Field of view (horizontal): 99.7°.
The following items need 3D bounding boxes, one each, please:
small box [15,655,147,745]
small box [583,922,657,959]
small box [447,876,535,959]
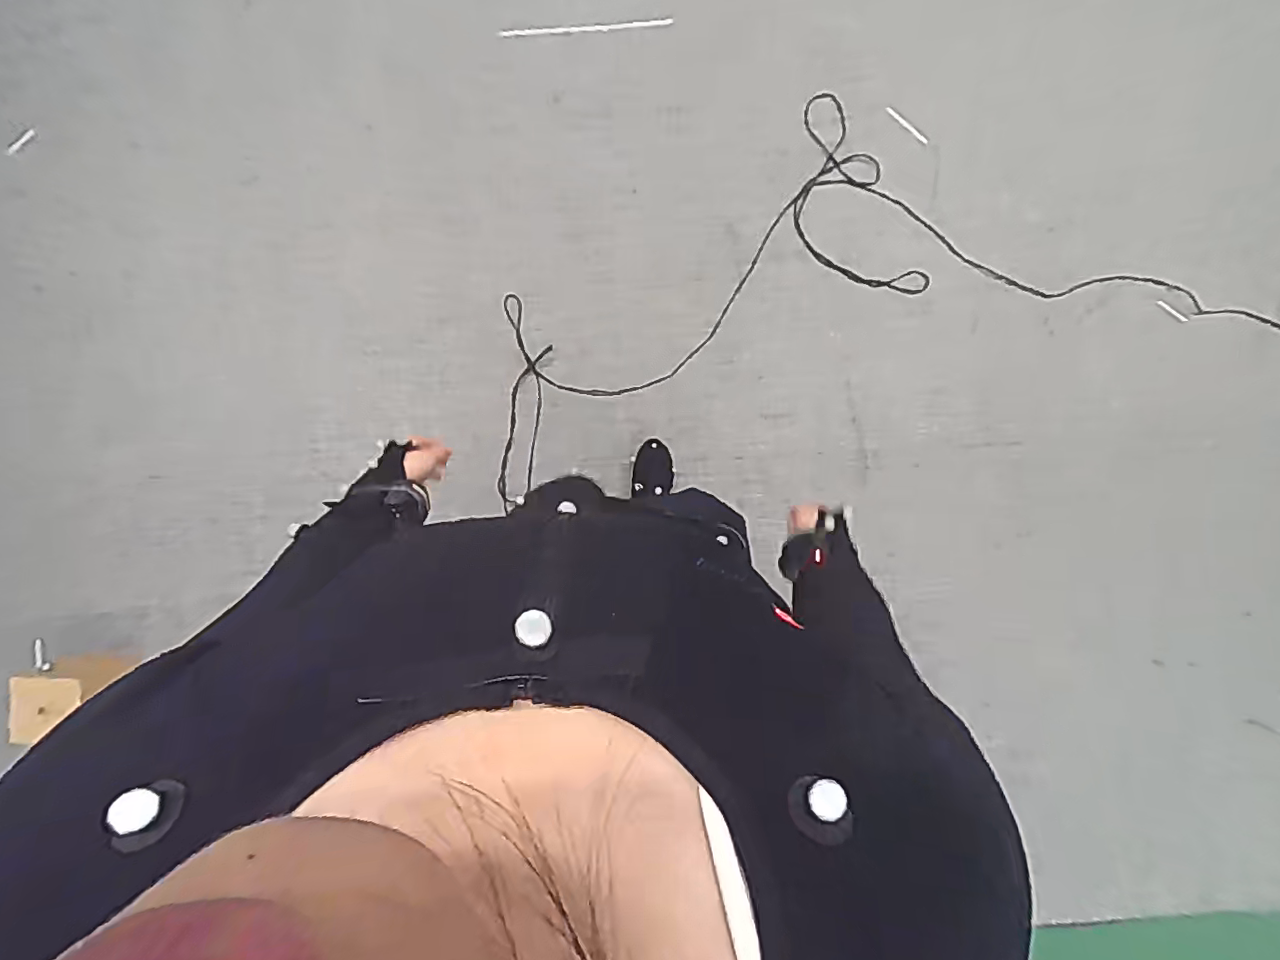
[{"bbox_3d":[-1.452,0.567,1.412,0.179,0.176,0.168,2,91,0],"label":"small box"},{"bbox_3d":[-0.046,1.126,1.196,0.168,0.176,0.179,0,89,0],"label":"small box"},{"bbox_3d":[-0.369,1.136,1.361,0.179,0.176,0.168,-2,90,0],"label":"small box"}]
